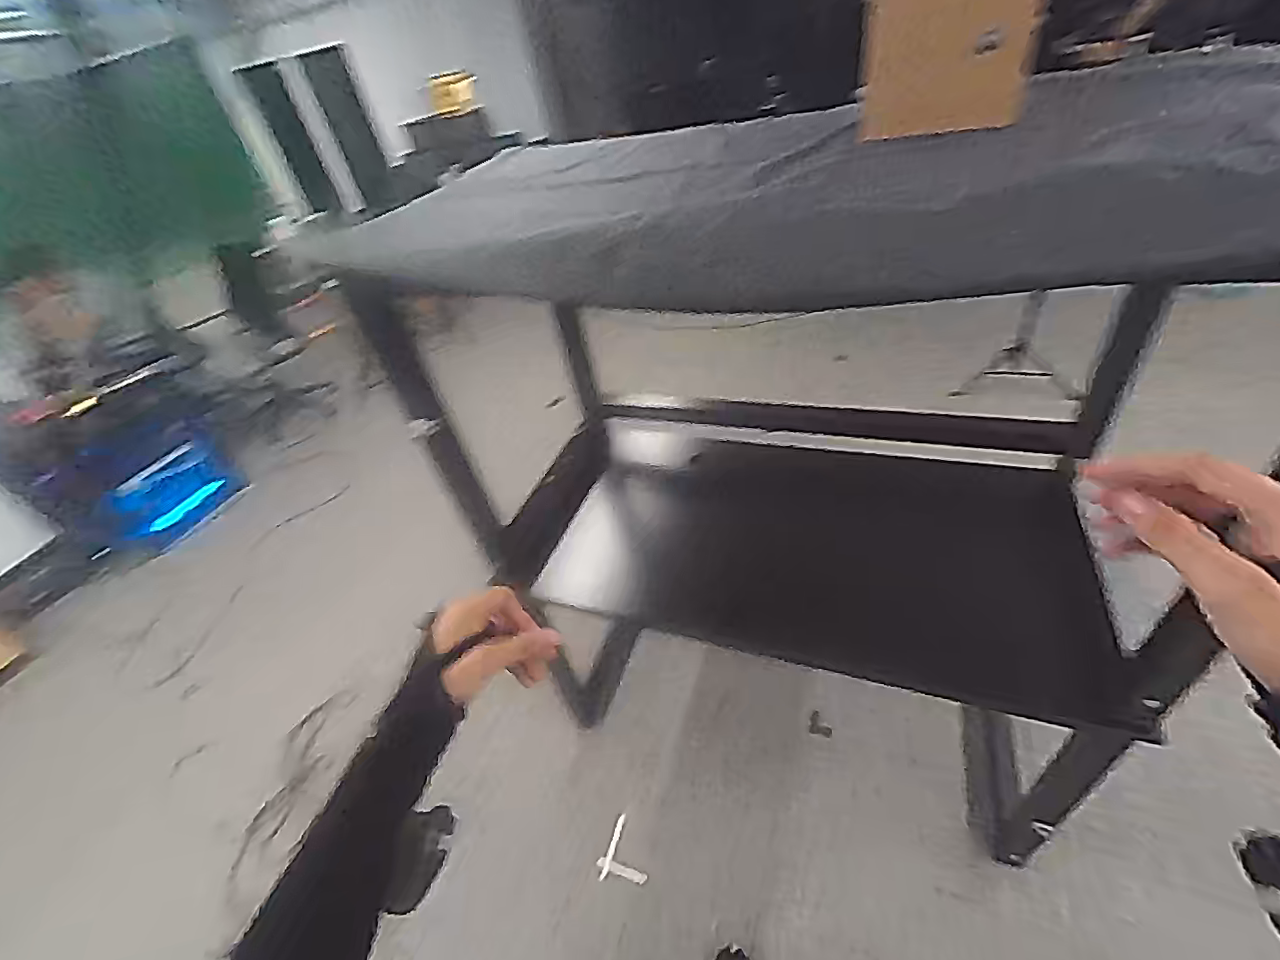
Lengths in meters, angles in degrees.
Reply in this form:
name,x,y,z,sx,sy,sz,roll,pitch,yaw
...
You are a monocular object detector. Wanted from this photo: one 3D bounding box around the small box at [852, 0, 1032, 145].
name,x,y,z,sx,sy,sz,roll,pitch,yaw
small box,0.380,-0.548,0.691,0.179,0.176,0.168,8,43,23
